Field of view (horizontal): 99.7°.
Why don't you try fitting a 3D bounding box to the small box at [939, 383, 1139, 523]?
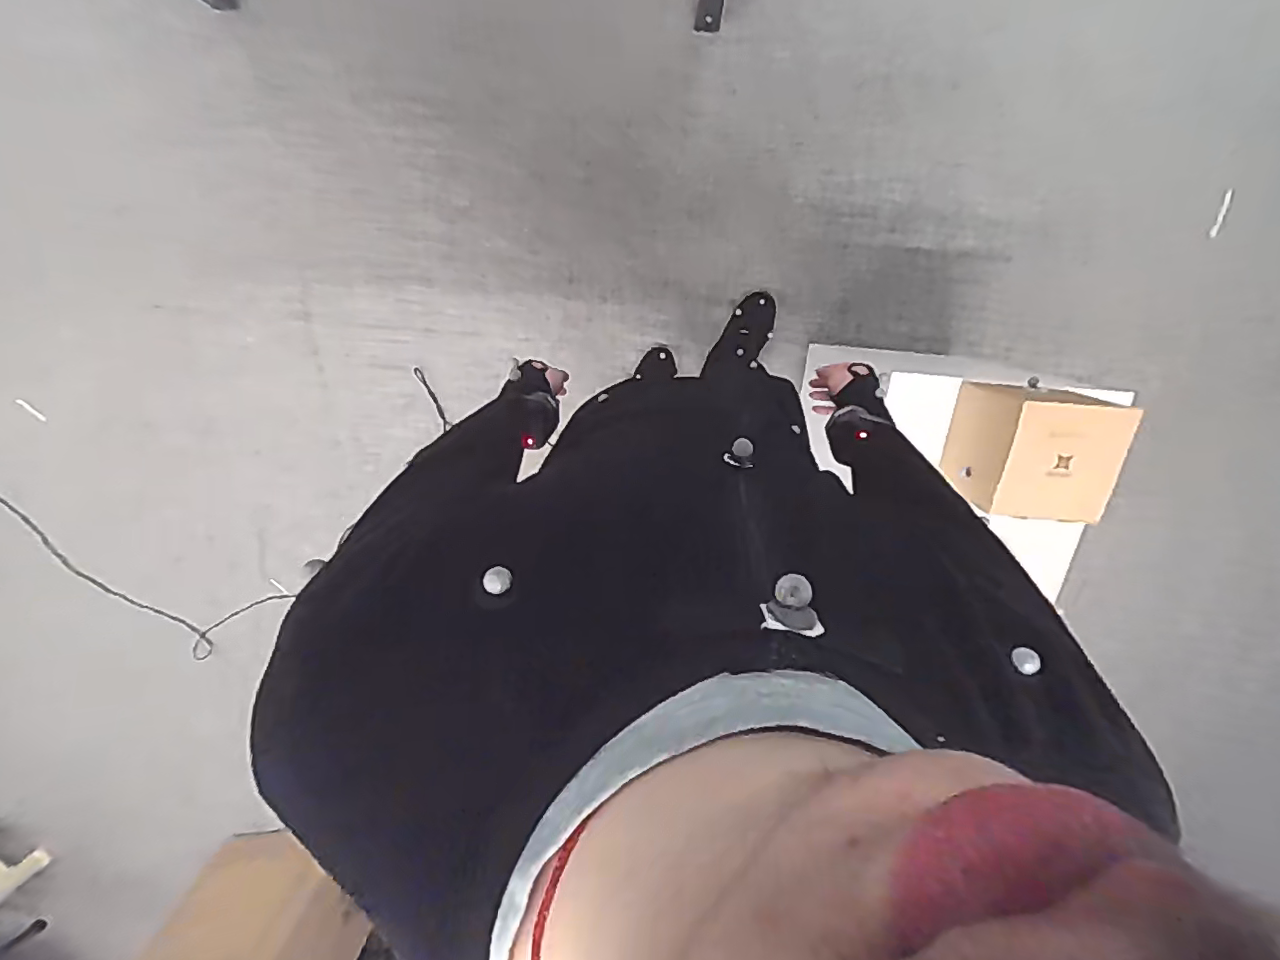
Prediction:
[{"bbox_3d":[0.598,-0.047,0.841,0.168,0.176,0.179,2,108,-2],"label":"small box"}]
